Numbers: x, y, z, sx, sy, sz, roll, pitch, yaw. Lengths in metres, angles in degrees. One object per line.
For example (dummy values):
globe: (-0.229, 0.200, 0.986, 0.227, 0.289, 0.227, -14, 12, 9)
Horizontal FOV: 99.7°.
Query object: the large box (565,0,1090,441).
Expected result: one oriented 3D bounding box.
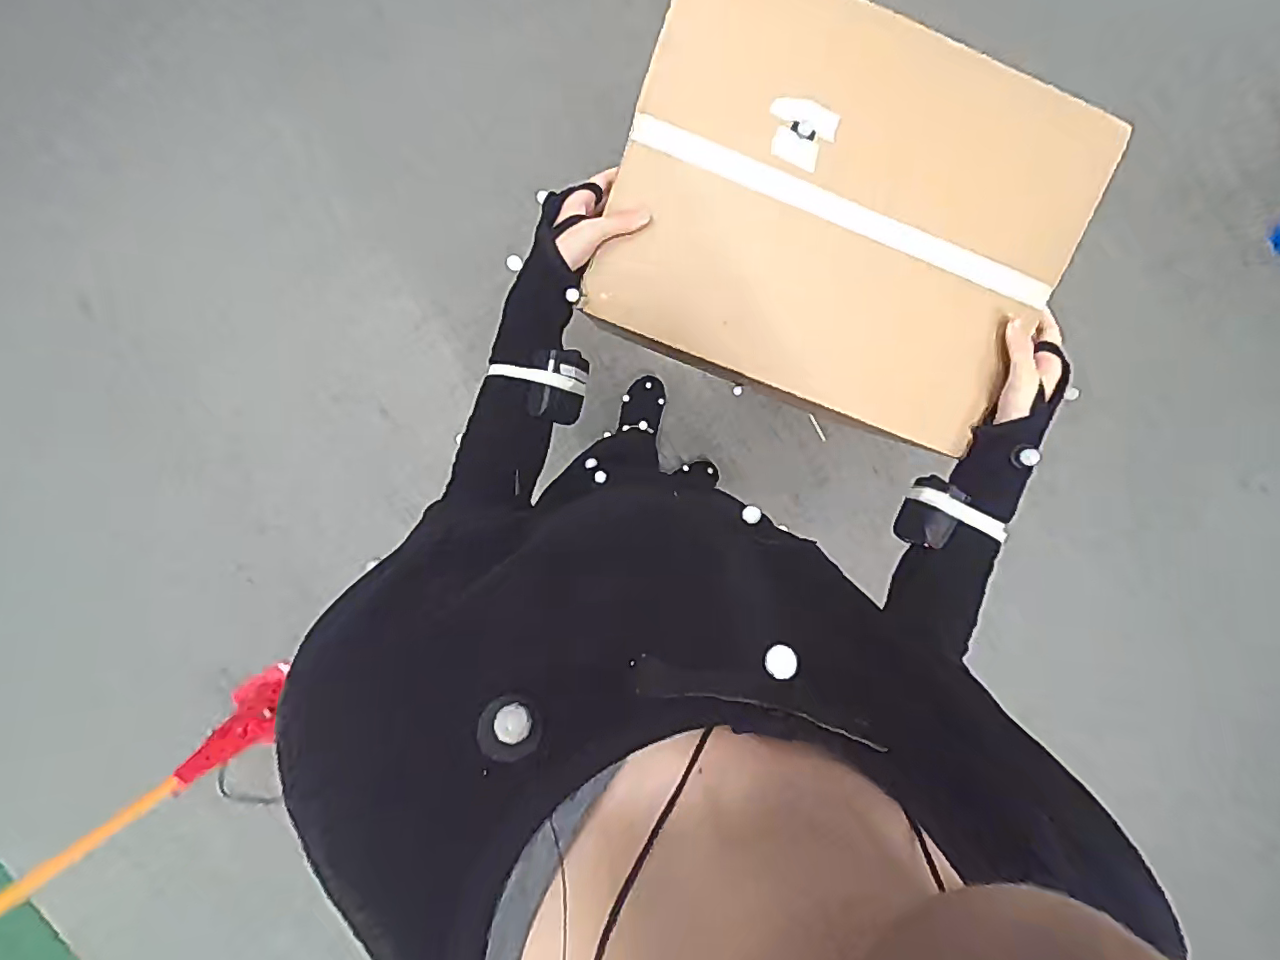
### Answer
large box: (0.165, -0.271, 0.638, 0.408, 0.320, 0.320, 19, 101, -5)
